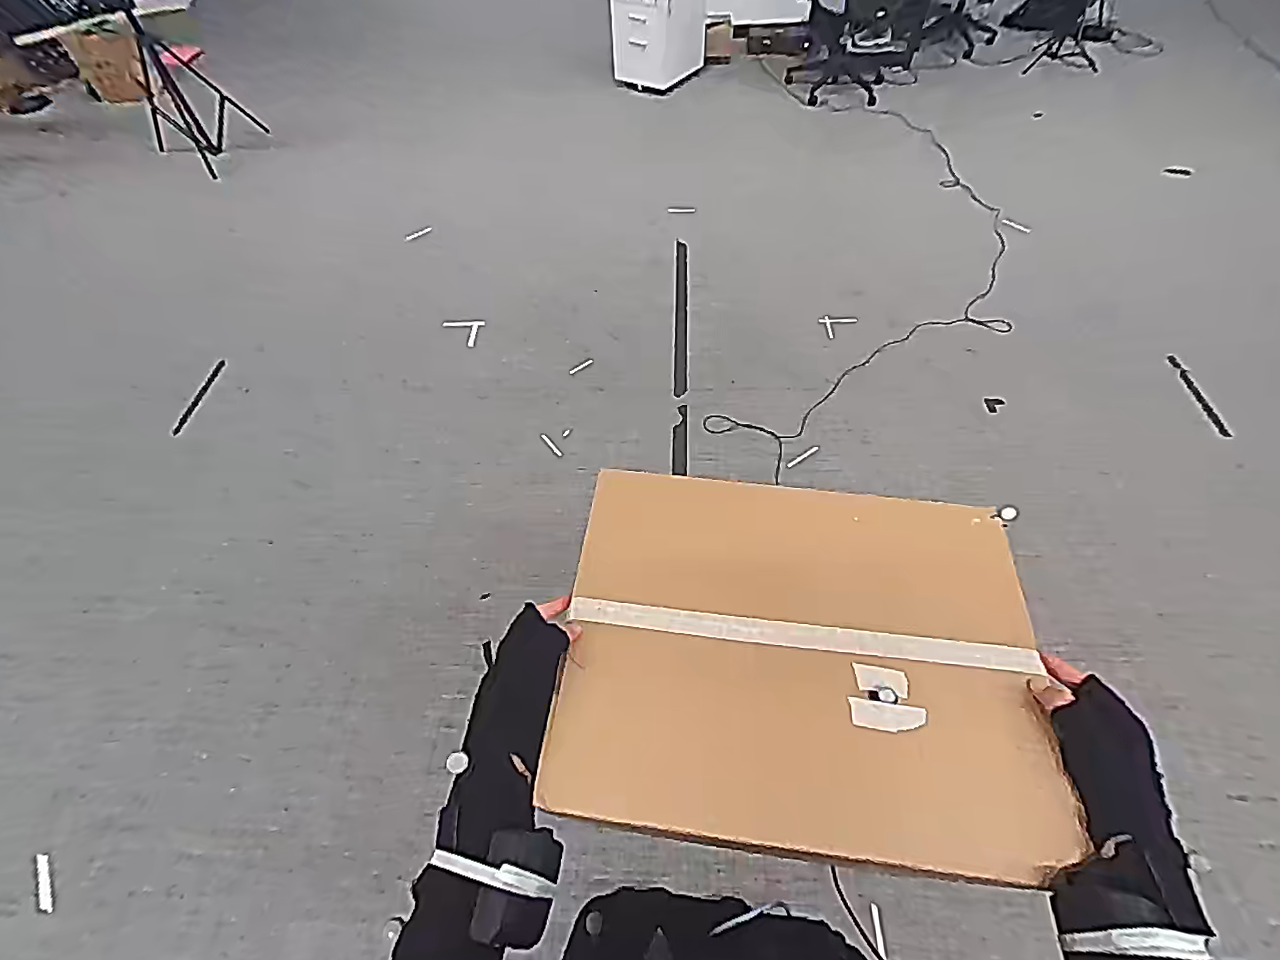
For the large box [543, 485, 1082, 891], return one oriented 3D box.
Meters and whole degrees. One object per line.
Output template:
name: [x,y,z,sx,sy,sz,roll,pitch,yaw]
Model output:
large box: [0.137,0.231,0.603,0.408,0.320,0.320,6,57,4]
